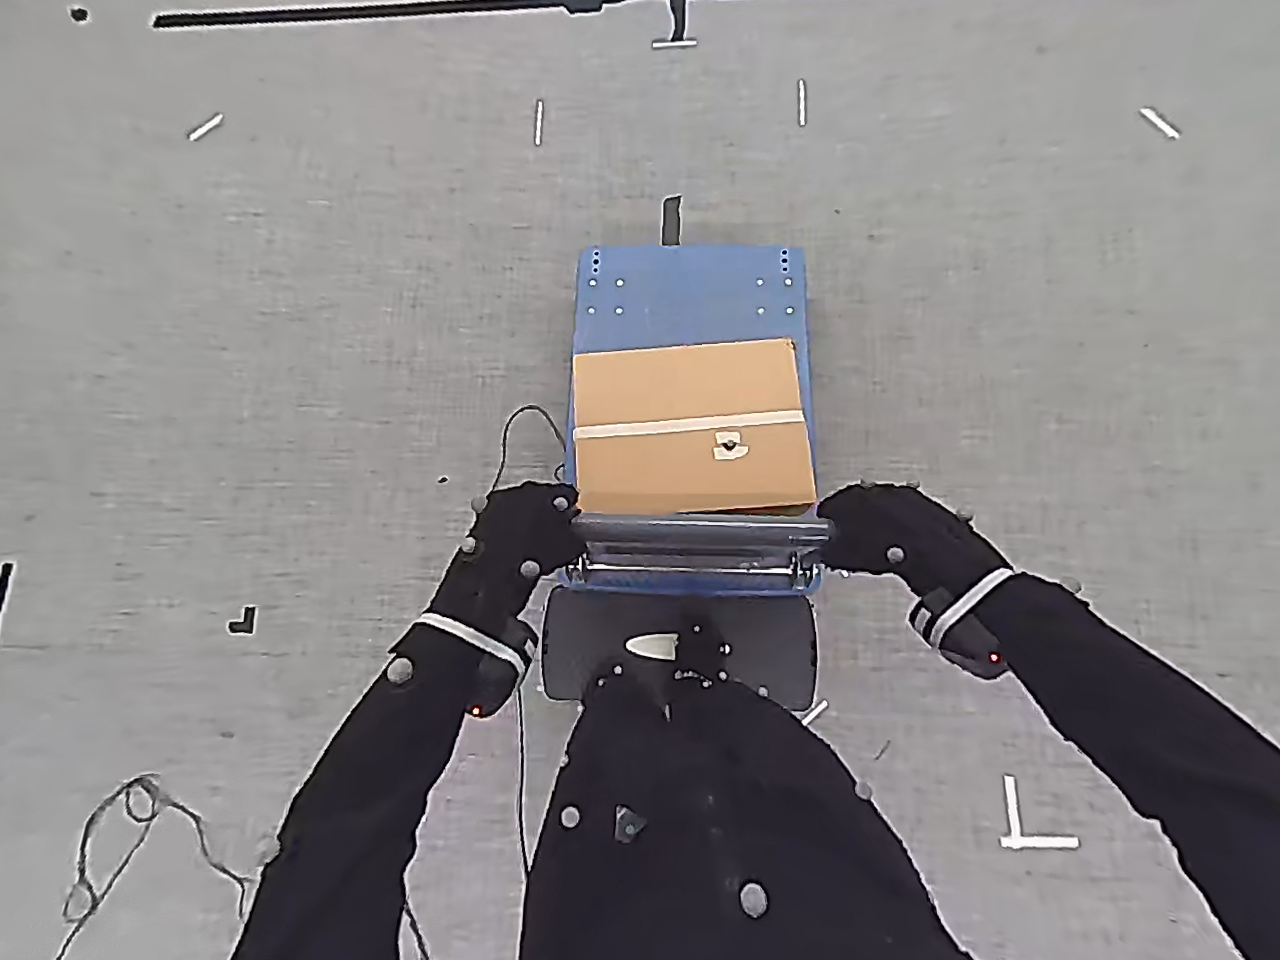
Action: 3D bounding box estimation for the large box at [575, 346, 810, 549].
[{"bbox_3d":[0.090,-0.048,1.114,0.408,0.320,0.320,-4,75,1],"label":"large box"}]
